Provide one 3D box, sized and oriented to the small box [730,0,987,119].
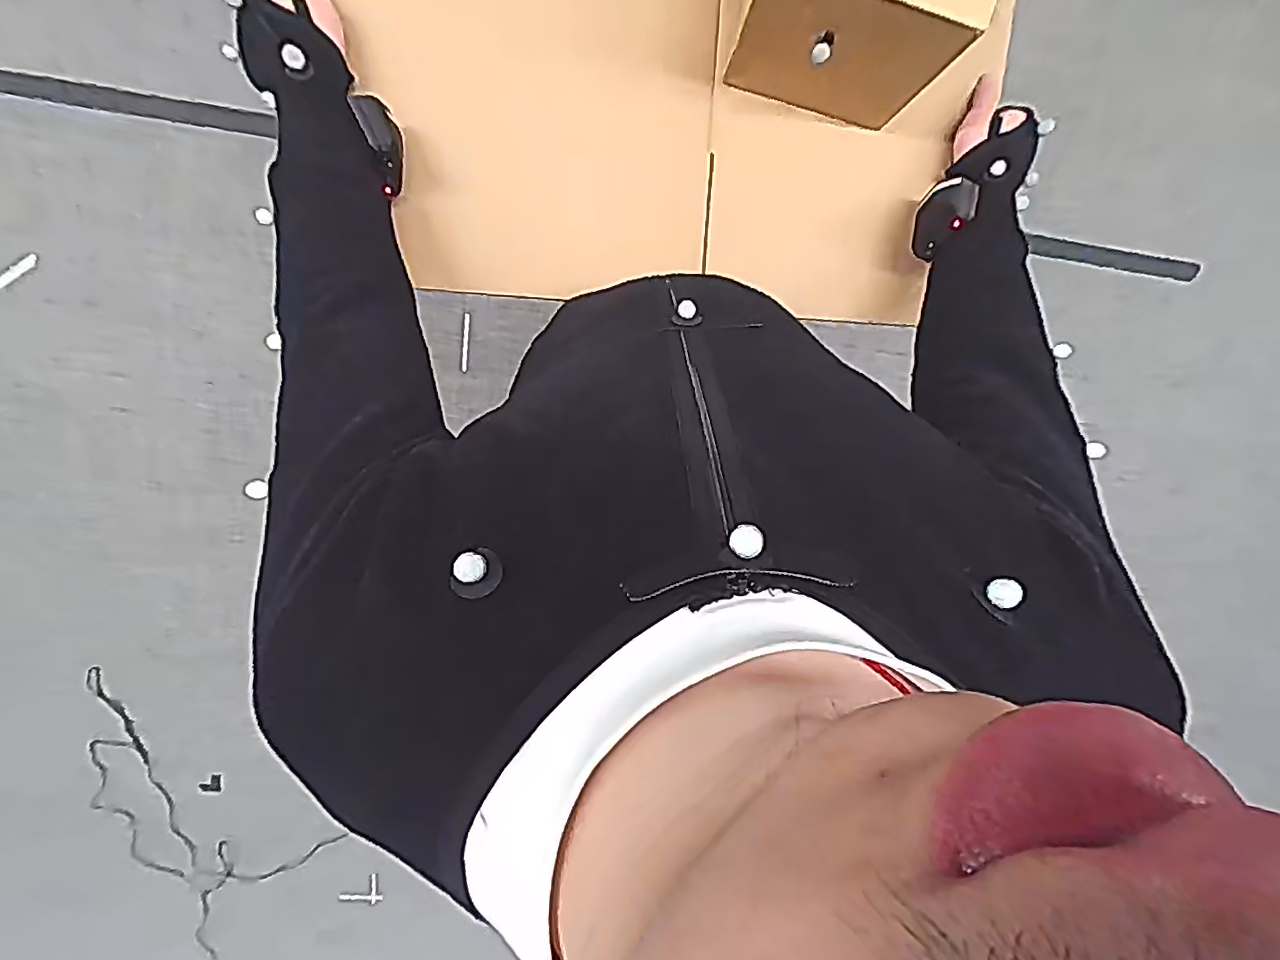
[{"bbox_3d":[0.190,-0.452,0.467,0.179,0.176,0.168,13,100,-4],"label":"small box"}]
